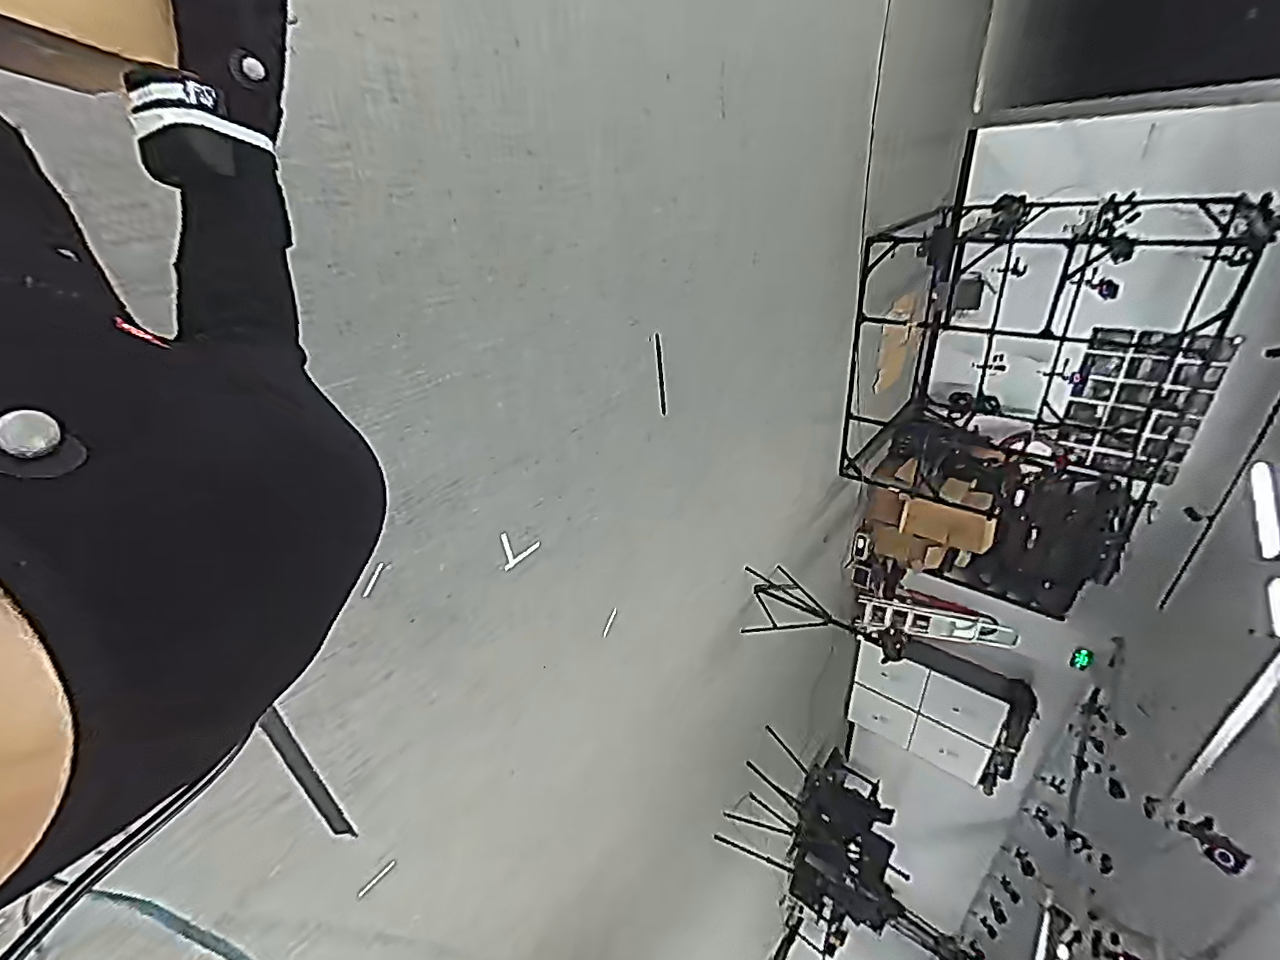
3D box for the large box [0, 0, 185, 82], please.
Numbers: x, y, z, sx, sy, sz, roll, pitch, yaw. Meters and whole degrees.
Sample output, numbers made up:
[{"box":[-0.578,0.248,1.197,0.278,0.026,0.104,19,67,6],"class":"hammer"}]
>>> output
[{"box":[-0.546,-0.469,0.276,0.408,0.320,0.320,-14,121,-52],"class":"large box"}]
